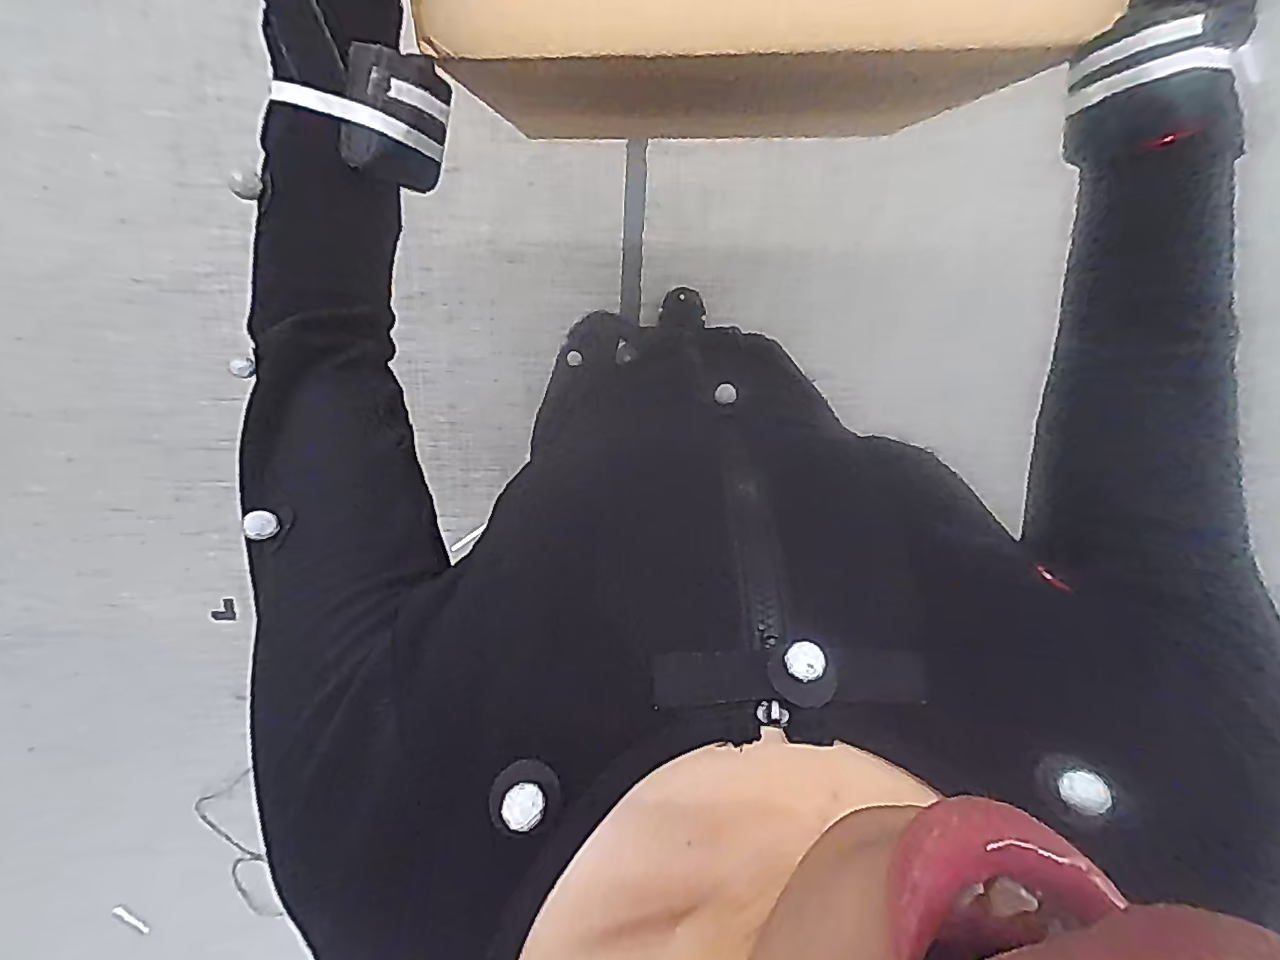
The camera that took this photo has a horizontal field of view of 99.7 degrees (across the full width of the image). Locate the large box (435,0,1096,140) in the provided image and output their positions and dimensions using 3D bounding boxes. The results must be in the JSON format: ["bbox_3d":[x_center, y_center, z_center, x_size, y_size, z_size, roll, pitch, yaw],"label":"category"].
[{"bbox_3d":[0.069,-0.466,0.405,0.408,0.320,0.320,-1,115,1],"label":"large box"}]
